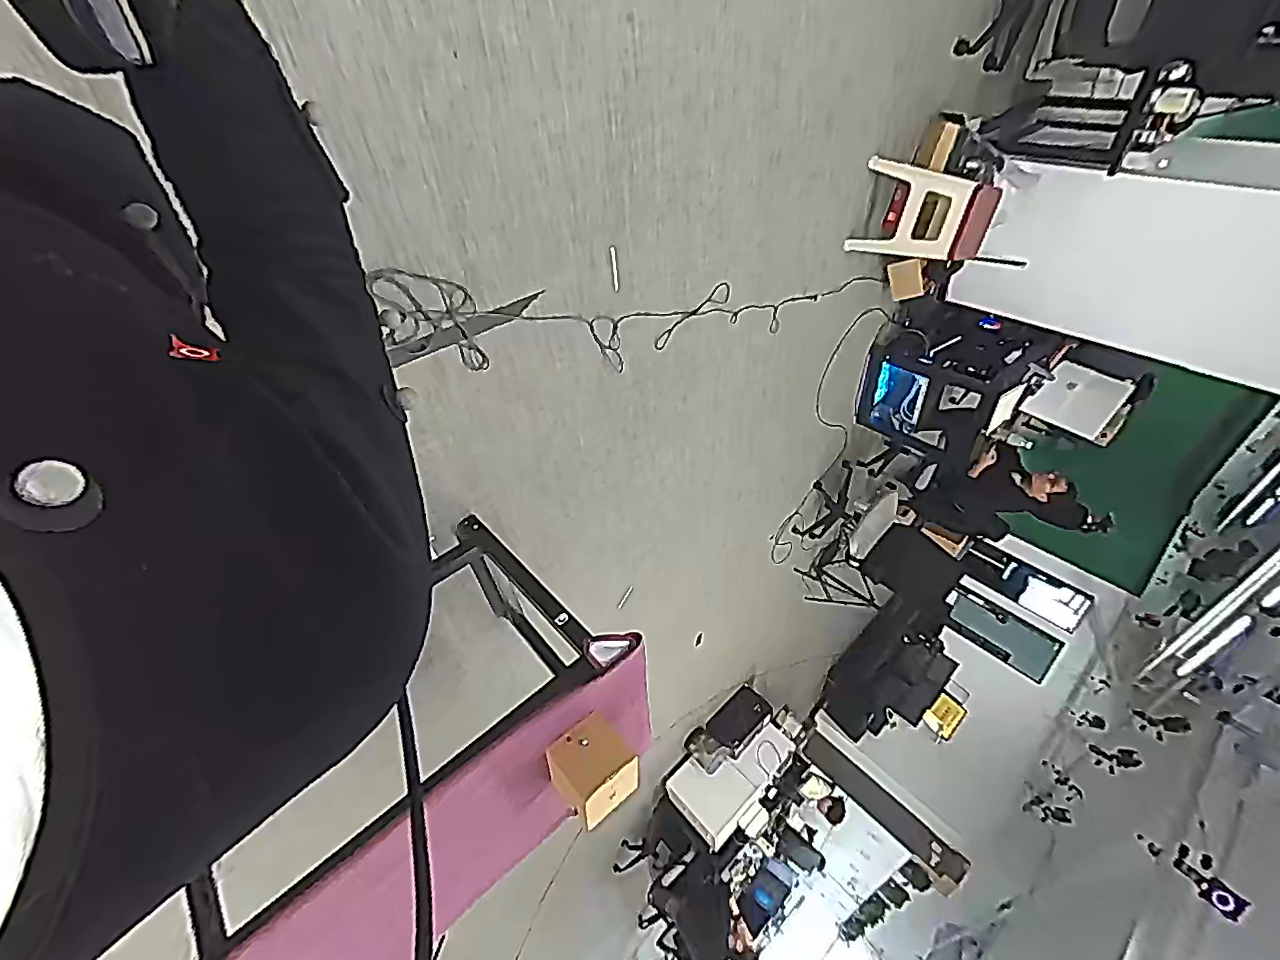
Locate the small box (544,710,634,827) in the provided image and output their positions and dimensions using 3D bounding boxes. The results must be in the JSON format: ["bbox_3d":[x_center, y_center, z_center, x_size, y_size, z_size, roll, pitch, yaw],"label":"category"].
[{"bbox_3d":[-0.131,0.737,1.395,0.168,0.176,0.179,-28,136,-33],"label":"small box"}]
